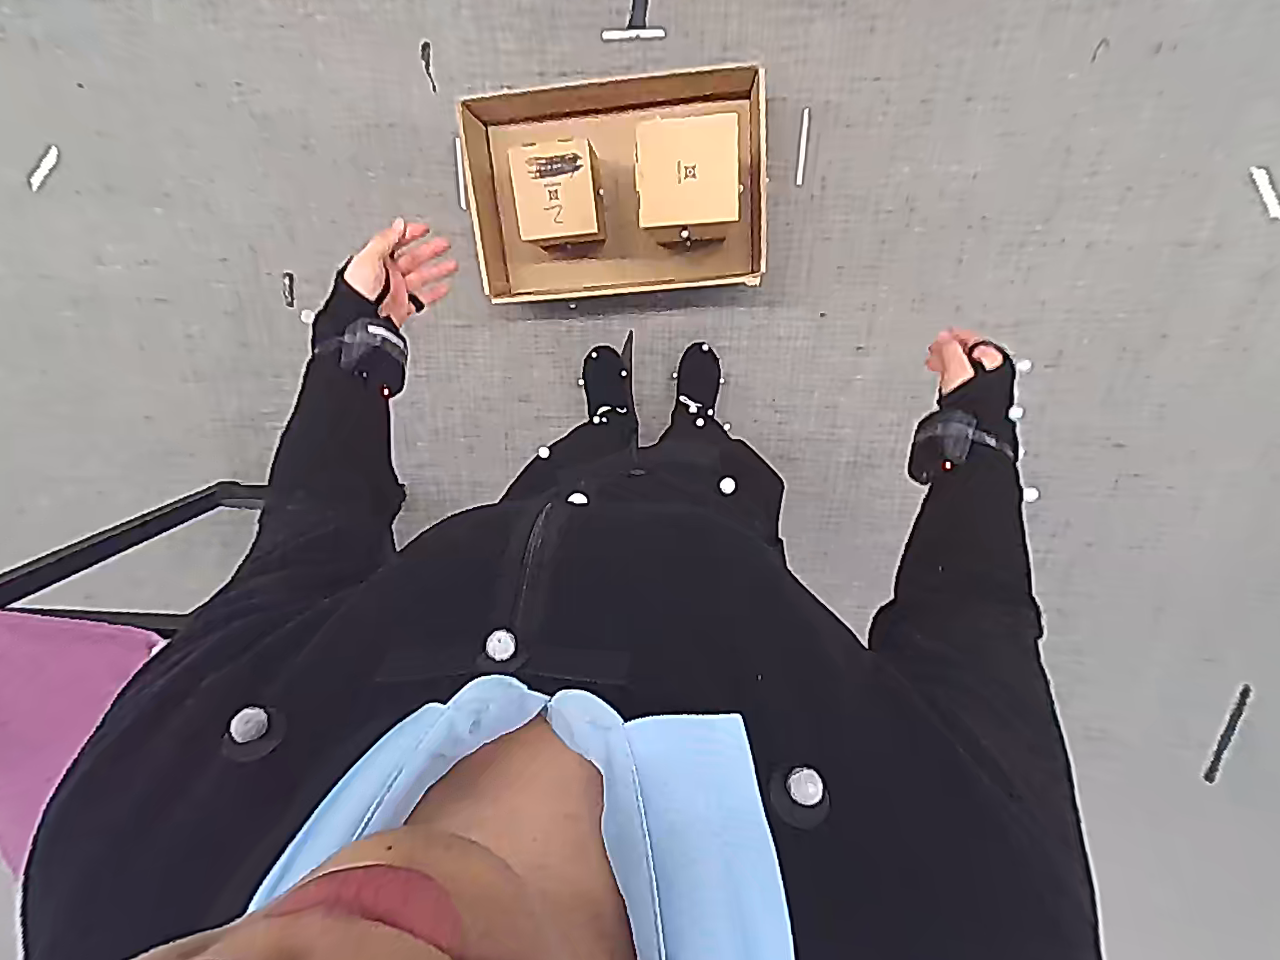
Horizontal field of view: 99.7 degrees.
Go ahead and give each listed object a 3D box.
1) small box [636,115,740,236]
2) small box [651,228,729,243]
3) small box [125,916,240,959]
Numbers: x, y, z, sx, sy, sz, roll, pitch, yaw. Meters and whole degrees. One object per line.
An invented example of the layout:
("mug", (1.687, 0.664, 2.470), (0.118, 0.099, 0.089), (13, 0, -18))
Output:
("small box", (0.090, -0.553, 1.003), (0.179, 0.176, 0.168), (-1, 109, 6))
("small box", (0.106, -0.609, 1.155), (0.168, 0.176, 0.179), (-1, 108, 5))
("small box", (-0.954, 1.044, 1.101), (0.168, 0.176, 0.179), (2, 109, 4))
